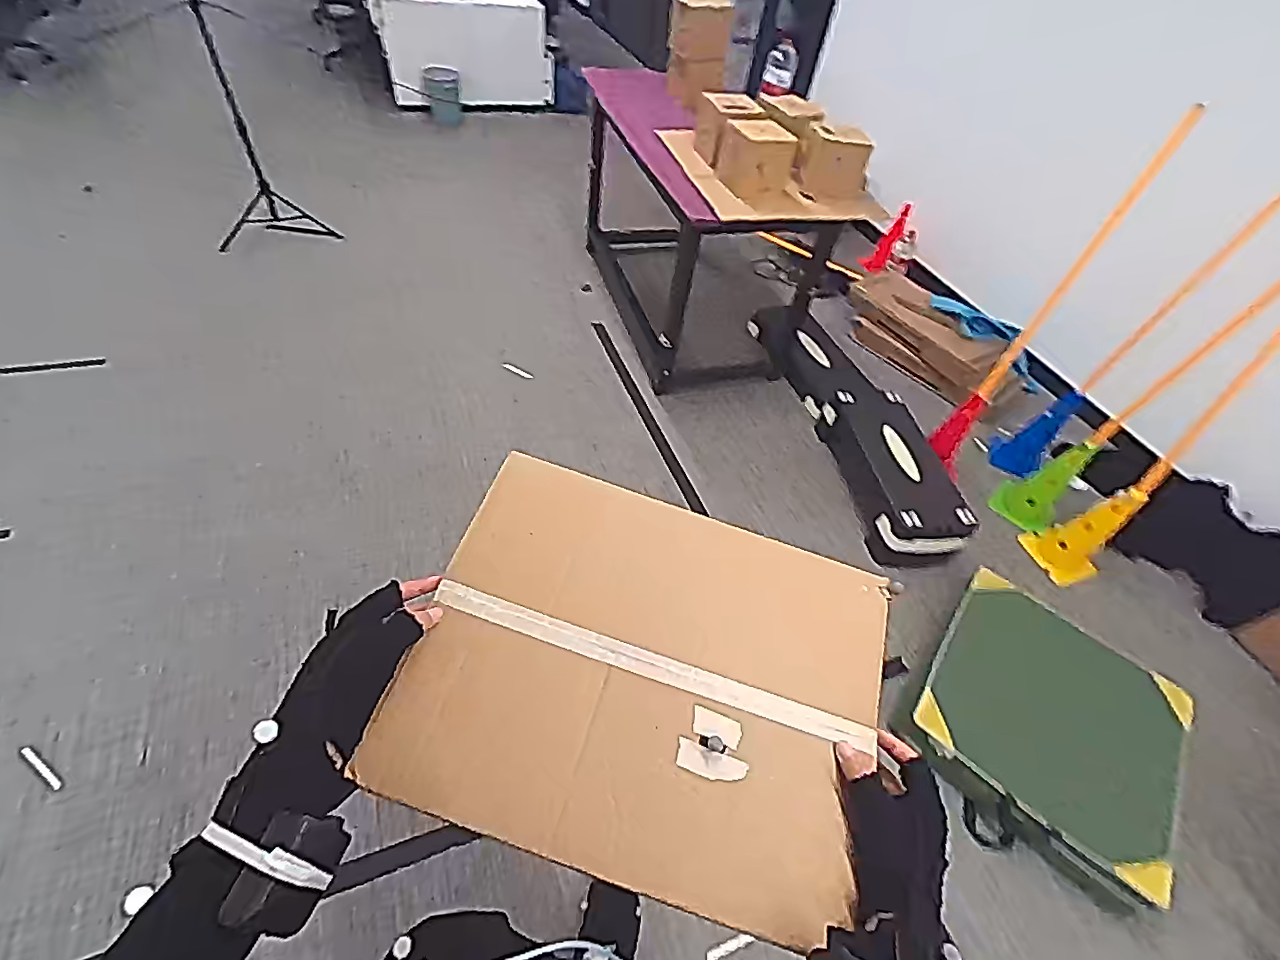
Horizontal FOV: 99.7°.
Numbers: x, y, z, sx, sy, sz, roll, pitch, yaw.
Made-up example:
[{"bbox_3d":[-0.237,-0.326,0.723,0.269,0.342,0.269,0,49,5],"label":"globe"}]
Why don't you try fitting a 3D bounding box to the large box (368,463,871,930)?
[{"bbox_3d":[-0.009,0.234,0.625,0.408,0.320,0.320,19,62,1],"label":"large box"}]
